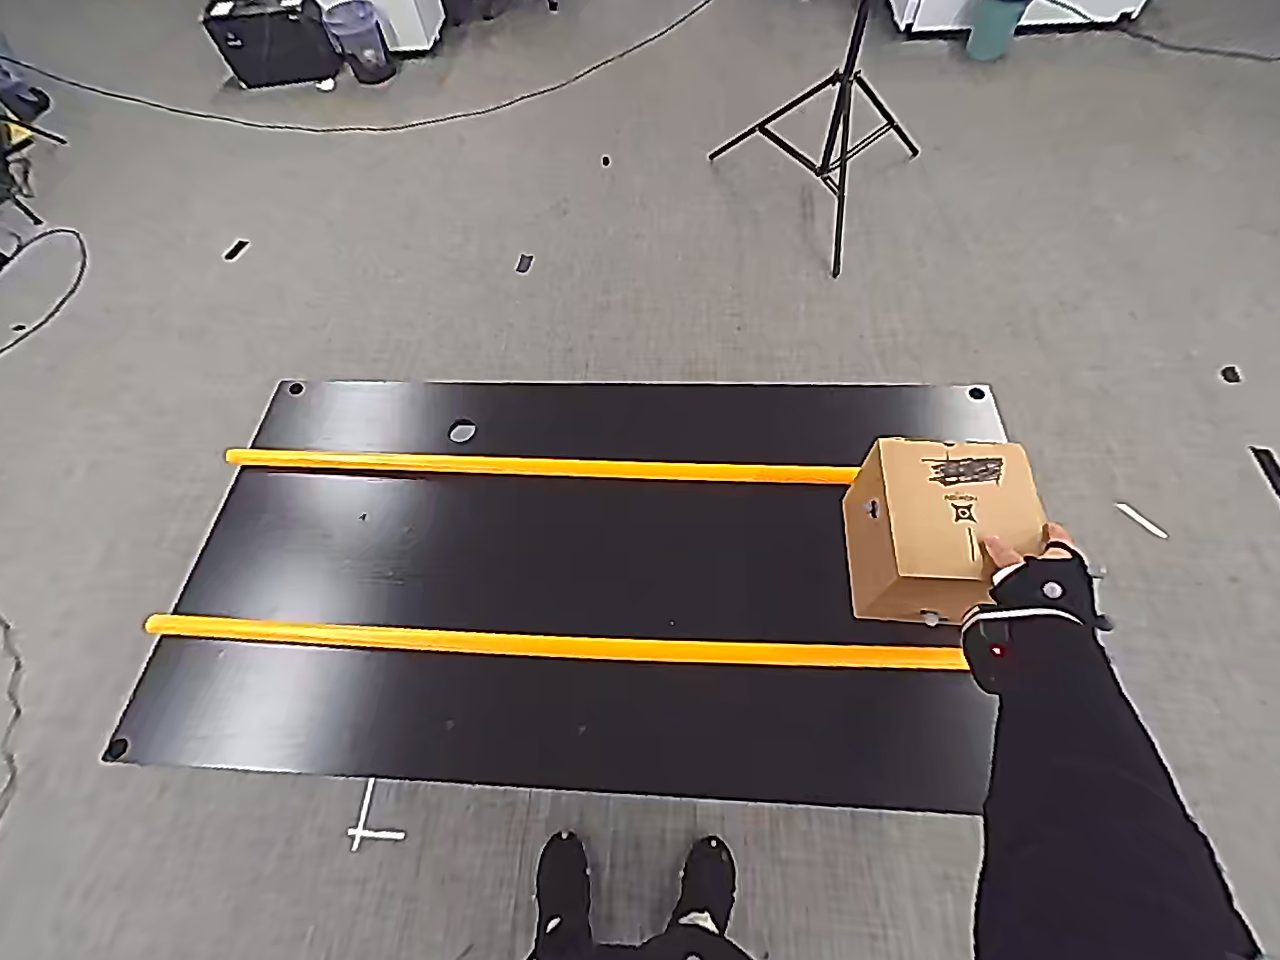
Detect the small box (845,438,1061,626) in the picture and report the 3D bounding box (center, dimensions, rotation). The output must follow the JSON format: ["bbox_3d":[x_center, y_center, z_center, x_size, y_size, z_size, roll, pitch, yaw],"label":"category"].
[{"bbox_3d":[0.364,0.068,0.672,0.168,0.176,0.179,3,61,6],"label":"small box"}]
